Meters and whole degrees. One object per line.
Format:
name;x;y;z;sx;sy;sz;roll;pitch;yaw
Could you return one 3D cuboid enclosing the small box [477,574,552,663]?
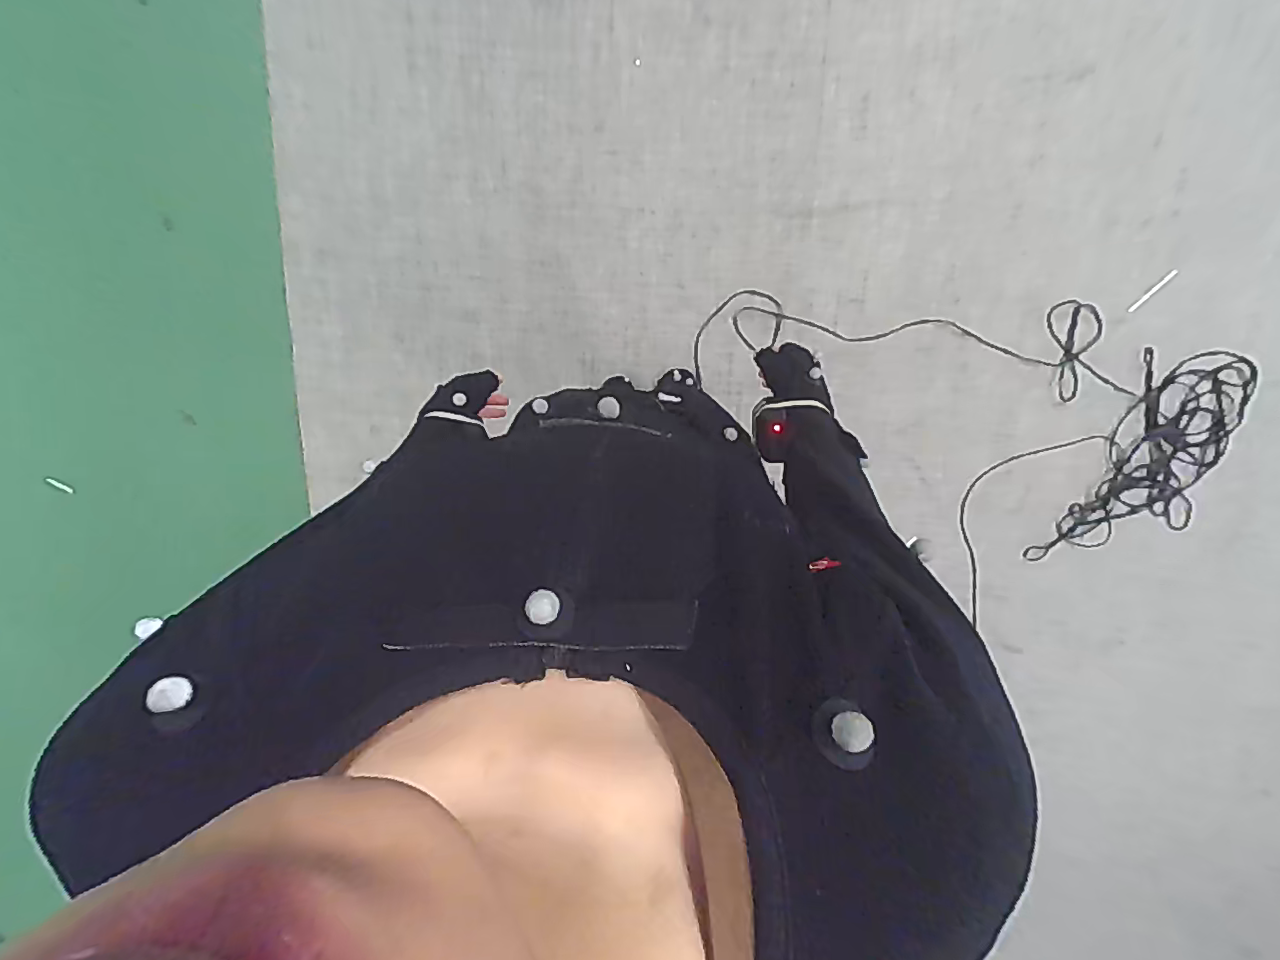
small box;-0.338;0.373;1.477;0.168;0.176;0.179;3;101;1
